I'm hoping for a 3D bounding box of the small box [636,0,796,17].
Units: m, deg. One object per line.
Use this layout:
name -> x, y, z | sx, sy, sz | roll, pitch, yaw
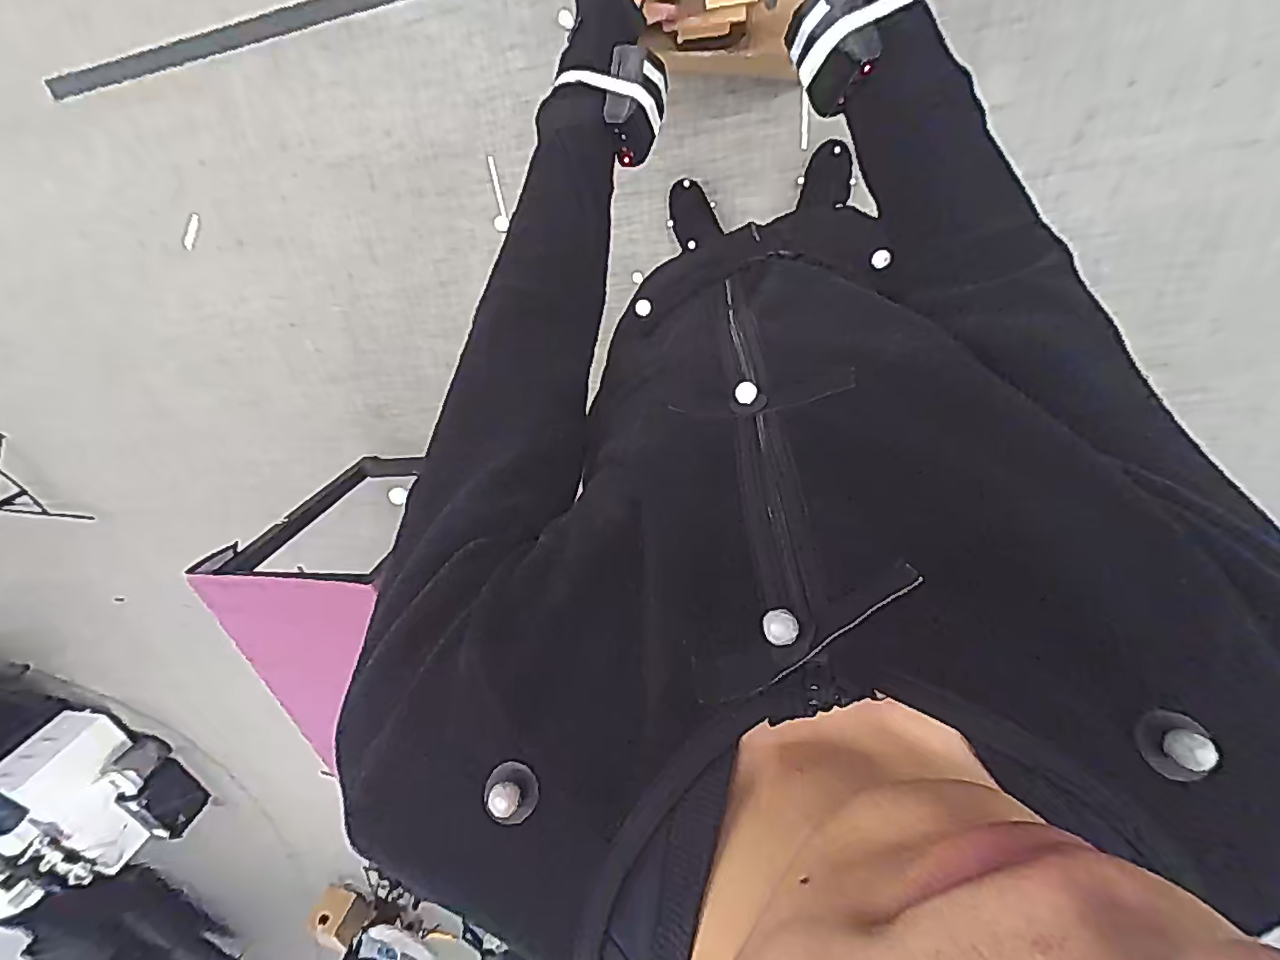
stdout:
small box -> 0.080, -0.534, 0.477 | 0.168, 0.176, 0.179 | 0, 124, 11
